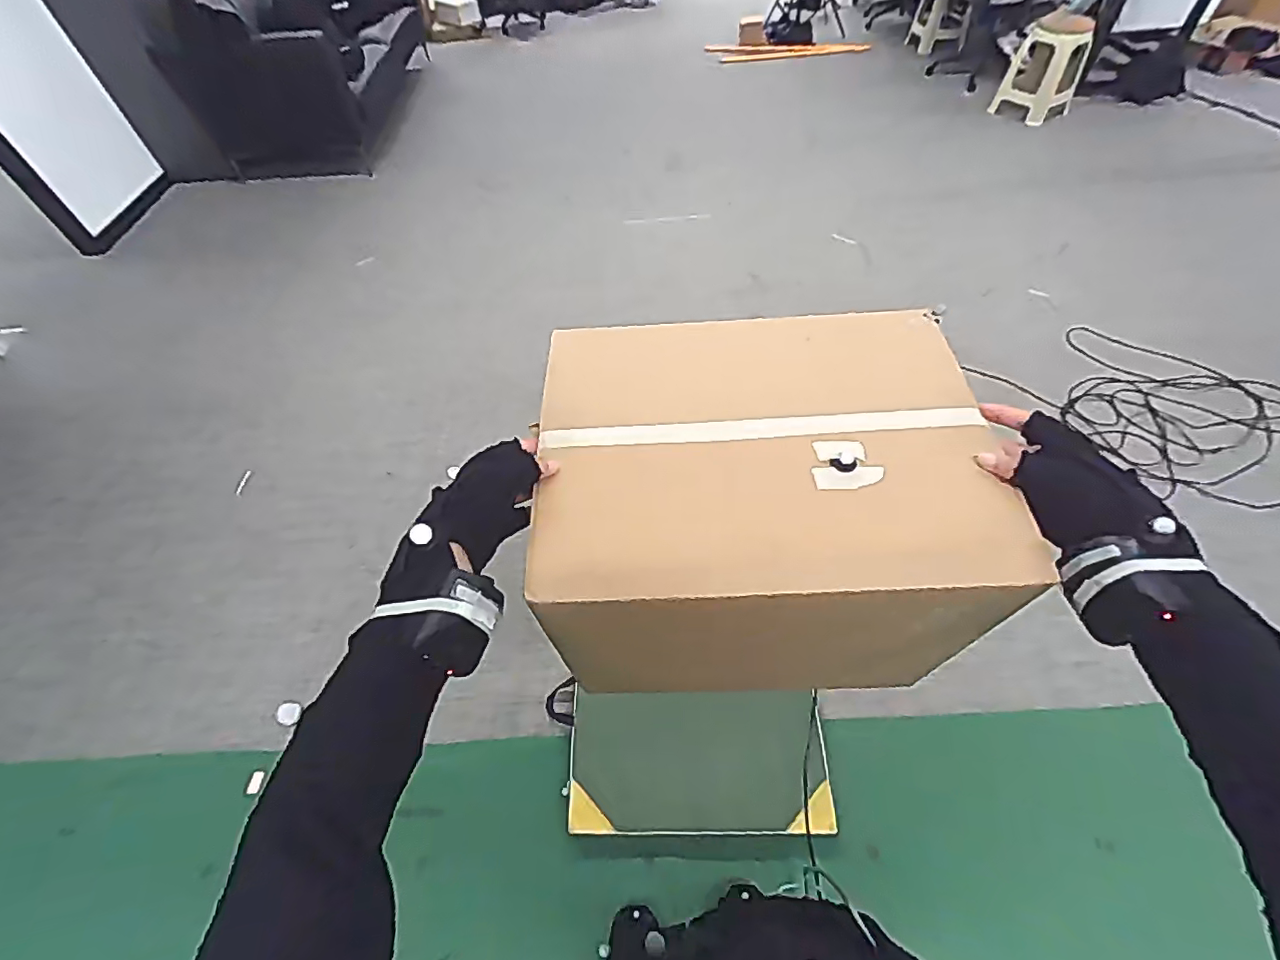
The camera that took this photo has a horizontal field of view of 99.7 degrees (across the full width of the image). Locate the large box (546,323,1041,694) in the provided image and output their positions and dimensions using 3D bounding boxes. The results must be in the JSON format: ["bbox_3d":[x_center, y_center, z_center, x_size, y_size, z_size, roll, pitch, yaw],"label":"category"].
[{"bbox_3d":[0.121,0.048,0.633,0.408,0.320,0.320,-3,56,1],"label":"large box"}]
